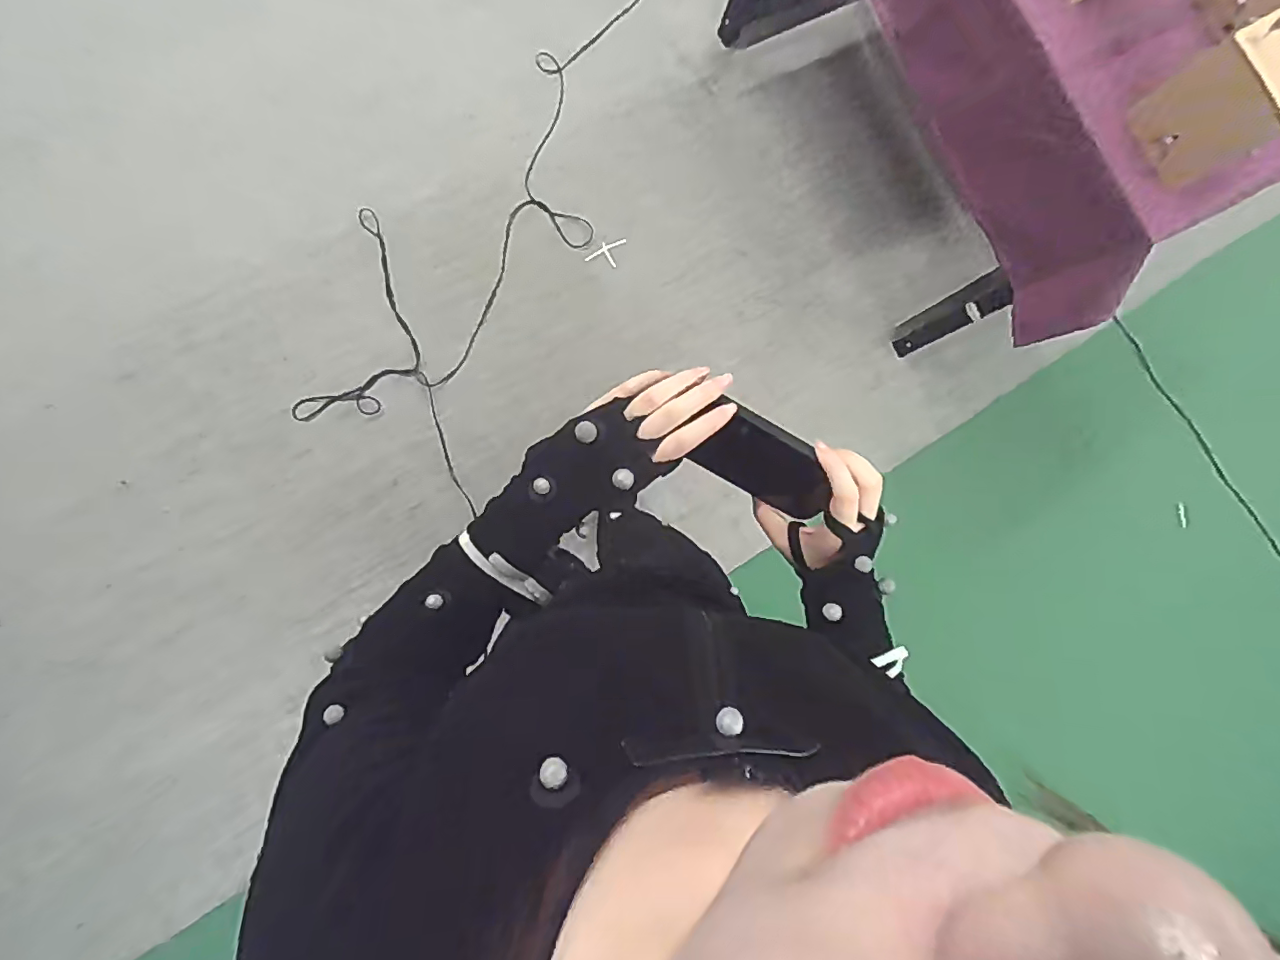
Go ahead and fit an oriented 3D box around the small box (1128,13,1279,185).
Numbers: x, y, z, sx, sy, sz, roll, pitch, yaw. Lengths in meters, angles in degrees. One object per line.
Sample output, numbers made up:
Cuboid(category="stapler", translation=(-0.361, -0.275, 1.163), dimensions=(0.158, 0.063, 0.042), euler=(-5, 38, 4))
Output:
Cuboid(category="small box", translation=(1.022, -0.650, 0.940), dimensions=(0.168, 0.176, 0.179), euler=(-31, 91, -12))
